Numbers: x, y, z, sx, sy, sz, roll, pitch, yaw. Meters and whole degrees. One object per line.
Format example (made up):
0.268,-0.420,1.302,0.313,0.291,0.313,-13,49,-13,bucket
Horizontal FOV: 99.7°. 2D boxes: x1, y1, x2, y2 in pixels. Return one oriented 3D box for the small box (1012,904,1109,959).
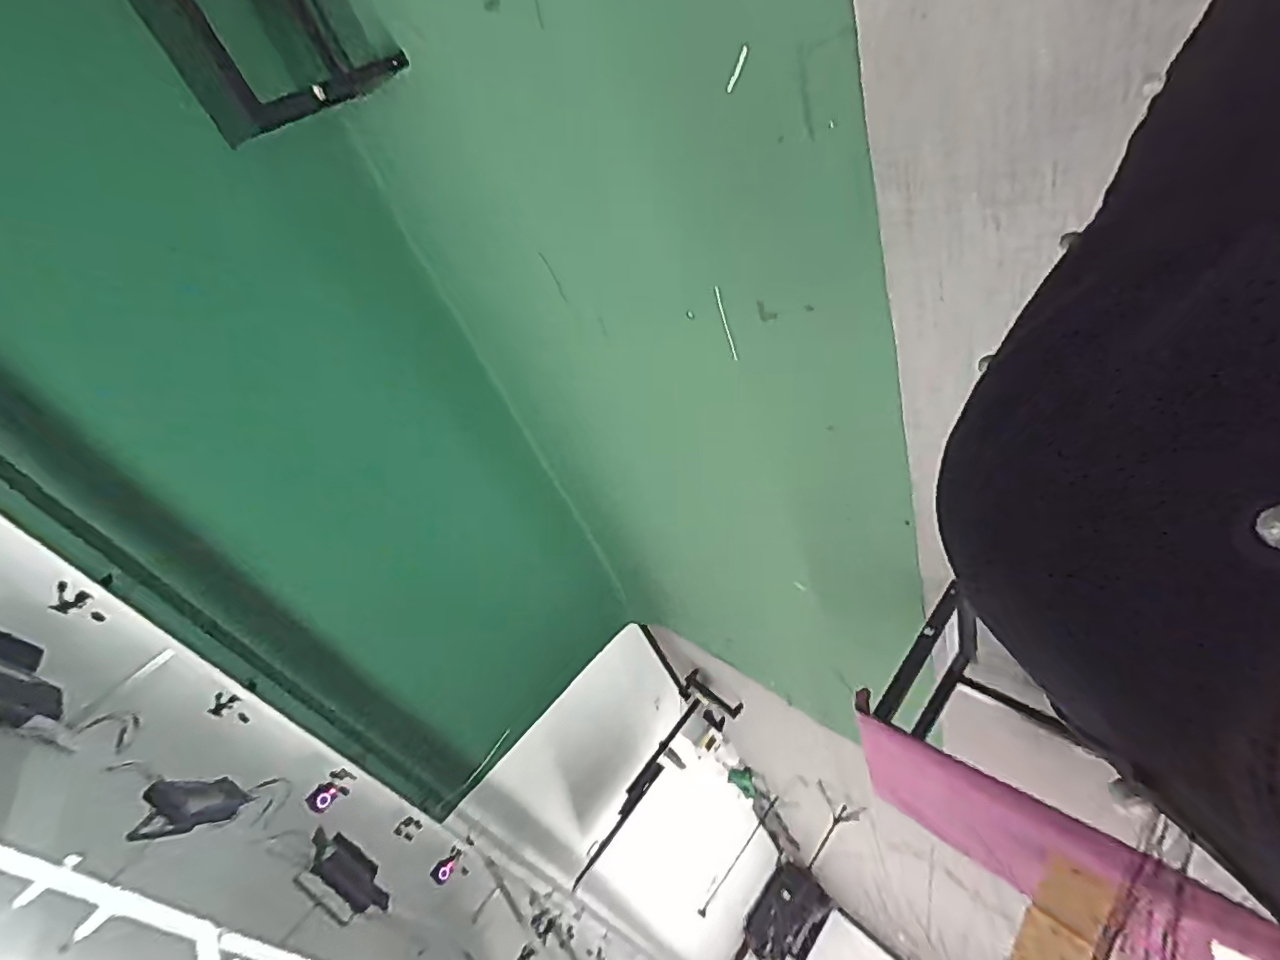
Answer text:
1.071,1.243,1.389,0.168,0.176,0.179,19,146,45,small box
